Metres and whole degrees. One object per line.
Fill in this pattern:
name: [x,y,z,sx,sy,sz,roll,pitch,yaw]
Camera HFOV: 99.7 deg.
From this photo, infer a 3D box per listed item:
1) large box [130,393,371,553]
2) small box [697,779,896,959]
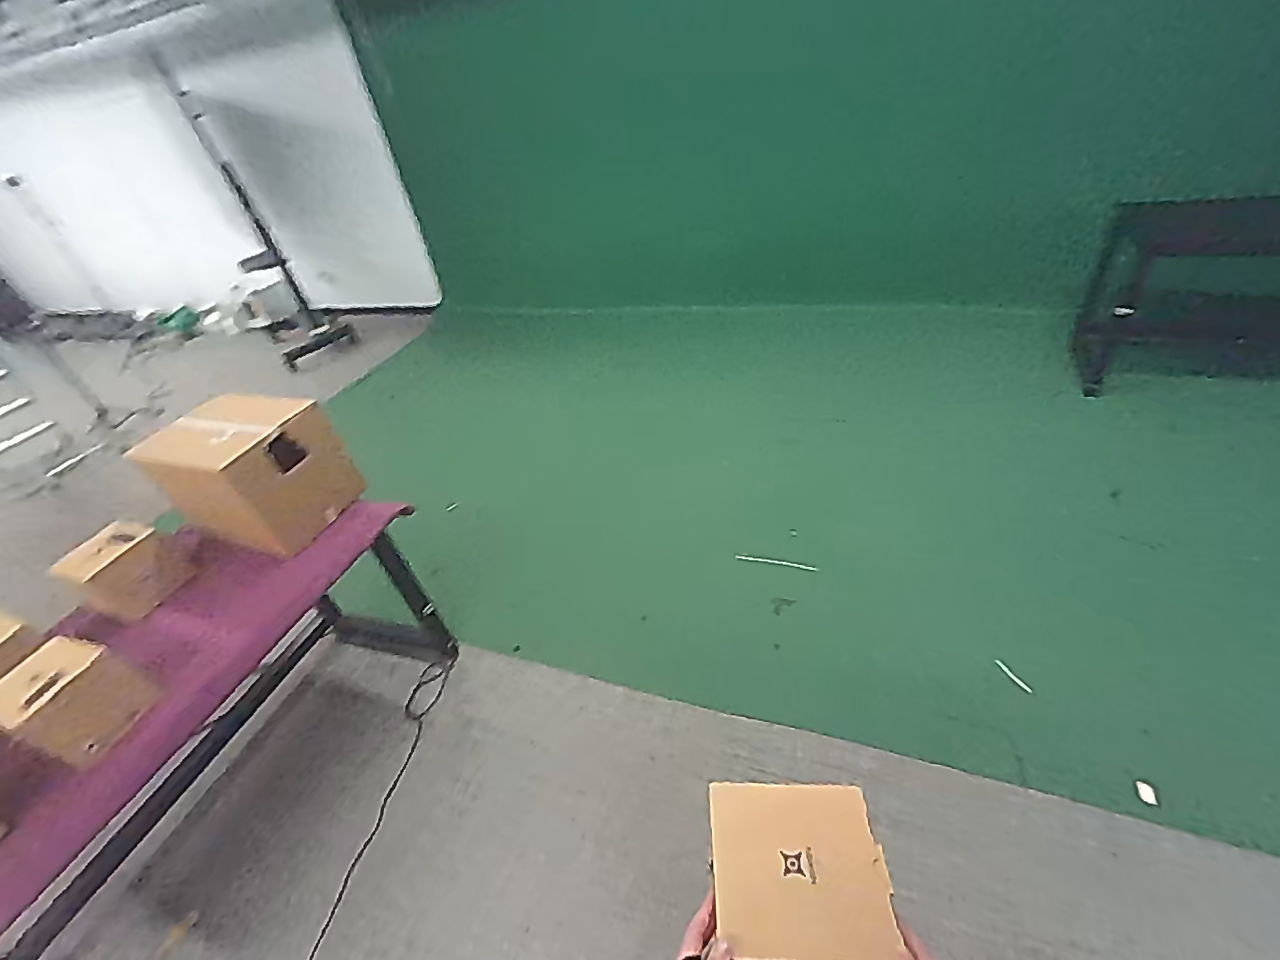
large box: [-1.079,-0.028,1.538,0.408,0.320,0.320,8,43,21]
small box: [0.154,0.461,0.599,0.179,0.176,0.168,-1,32,3]
